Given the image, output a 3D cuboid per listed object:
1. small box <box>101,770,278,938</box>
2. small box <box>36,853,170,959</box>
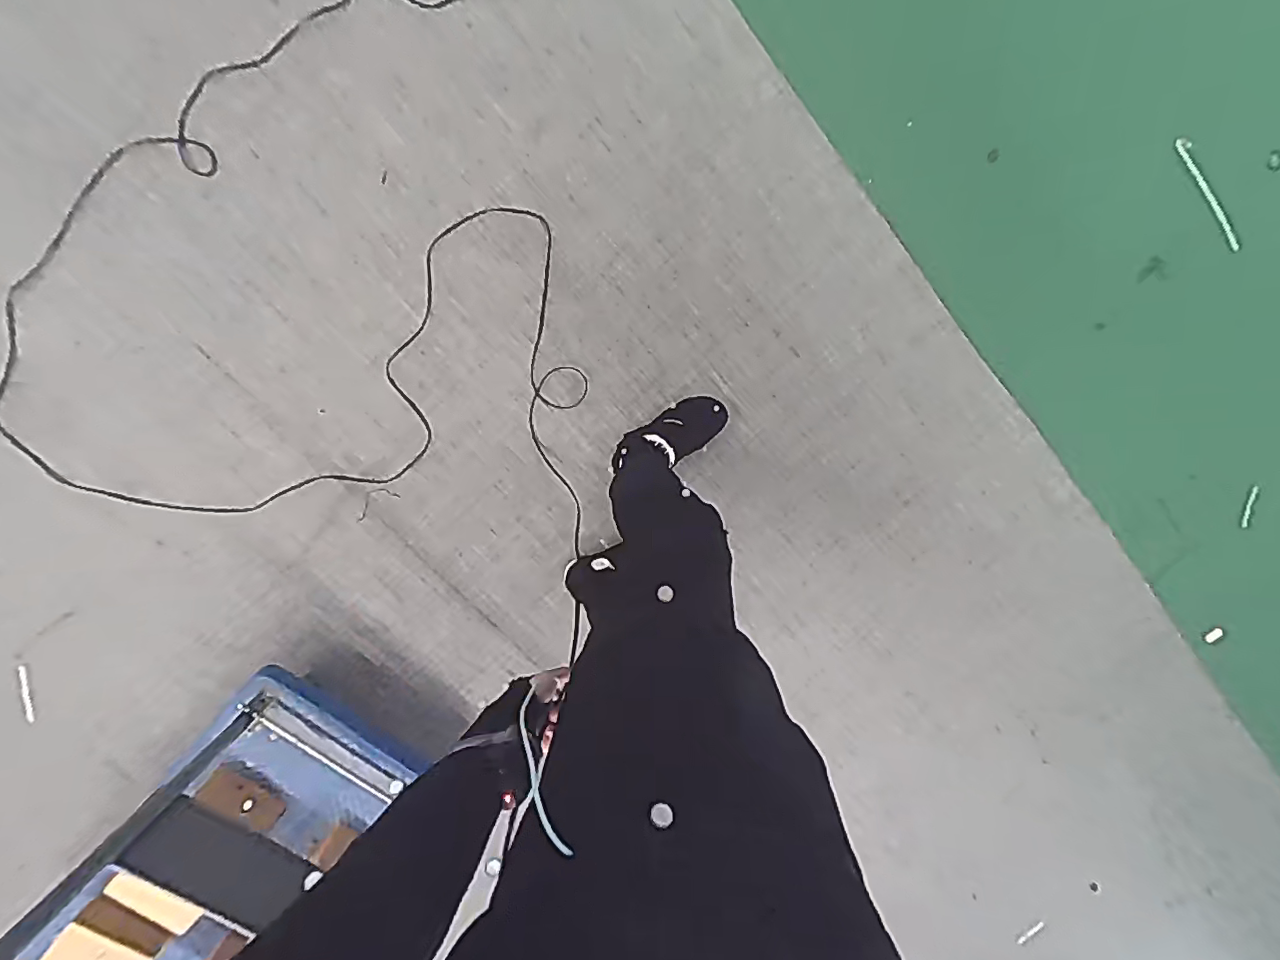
[{"bbox_3d":[-0.869,0.725,1.066,0.168,0.176,0.179,43,92,-11],"label":"small box"},{"bbox_3d":[-1.042,0.904,1.077,0.168,0.176,0.179,39,92,-12],"label":"small box"}]
